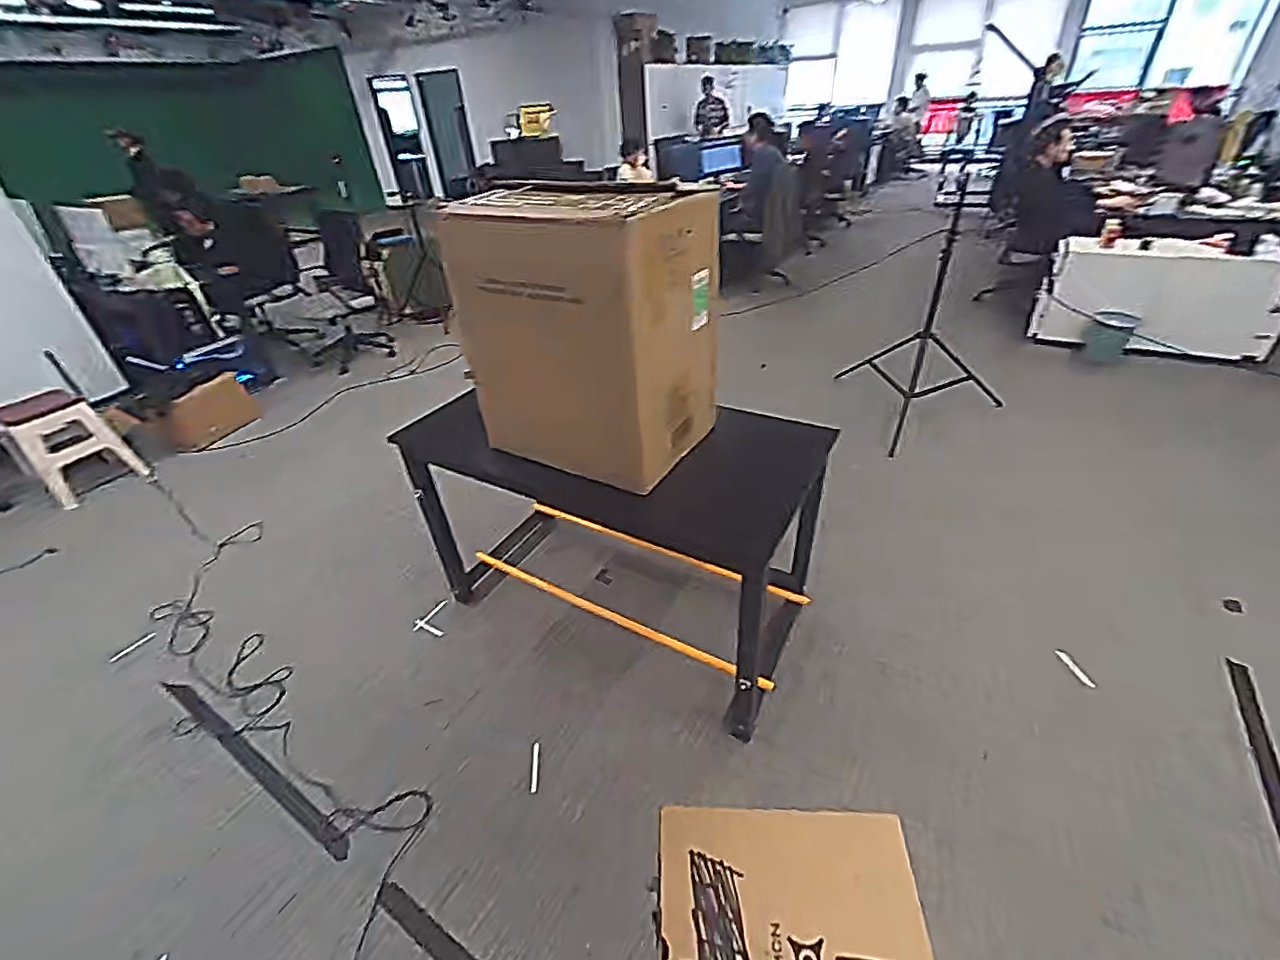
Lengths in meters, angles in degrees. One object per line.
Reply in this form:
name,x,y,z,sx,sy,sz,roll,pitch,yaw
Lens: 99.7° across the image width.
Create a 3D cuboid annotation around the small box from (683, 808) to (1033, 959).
small box,0.115,0.311,0.322,0.179,0.176,0.168,0,47,2
